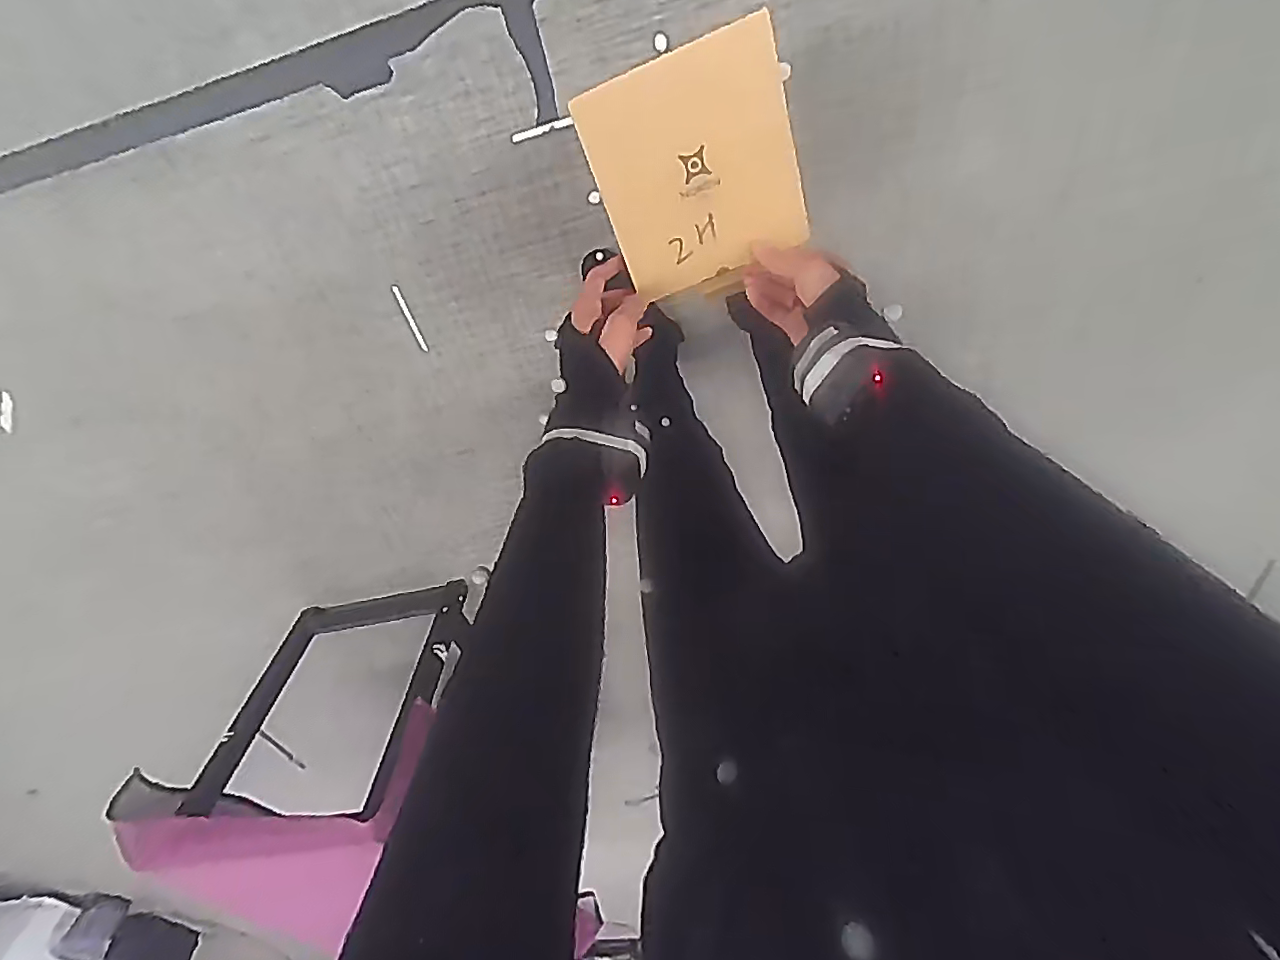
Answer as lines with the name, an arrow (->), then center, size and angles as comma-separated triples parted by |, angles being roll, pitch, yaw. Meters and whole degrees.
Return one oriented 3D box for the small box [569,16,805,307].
small box -> 0.045, -0.301, 0.525 | 0.168, 0.176, 0.179 | -17, 125, 12
